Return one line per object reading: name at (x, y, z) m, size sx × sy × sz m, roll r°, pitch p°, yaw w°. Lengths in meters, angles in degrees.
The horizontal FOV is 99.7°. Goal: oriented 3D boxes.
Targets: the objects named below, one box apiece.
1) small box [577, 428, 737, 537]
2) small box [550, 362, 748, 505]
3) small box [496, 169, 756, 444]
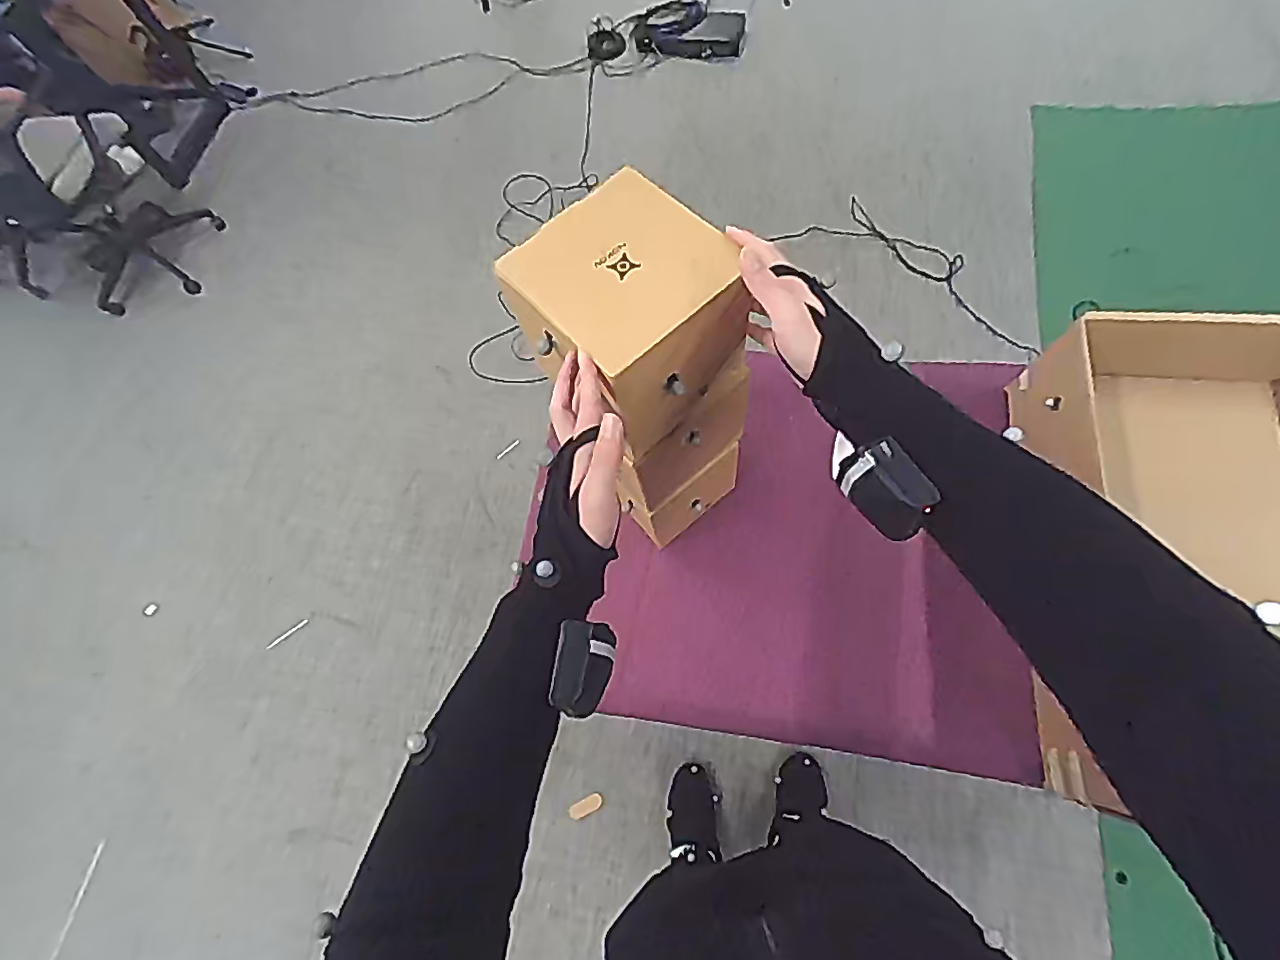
small box at (0.032, -0.030, 0.841) m, size 0.168 × 0.176 × 0.179 m, roll -38°, pitch 68°, yaw -9°
small box at (0.018, -0.095, 0.692) m, size 0.179 × 0.176 × 0.168 m, roll -38°, pitch 69°, yaw -8°
small box at (-0.006, -0.158, 0.545) m, size 0.168 × 0.176 × 0.179 m, roll -40°, pitch 69°, yaw -10°
